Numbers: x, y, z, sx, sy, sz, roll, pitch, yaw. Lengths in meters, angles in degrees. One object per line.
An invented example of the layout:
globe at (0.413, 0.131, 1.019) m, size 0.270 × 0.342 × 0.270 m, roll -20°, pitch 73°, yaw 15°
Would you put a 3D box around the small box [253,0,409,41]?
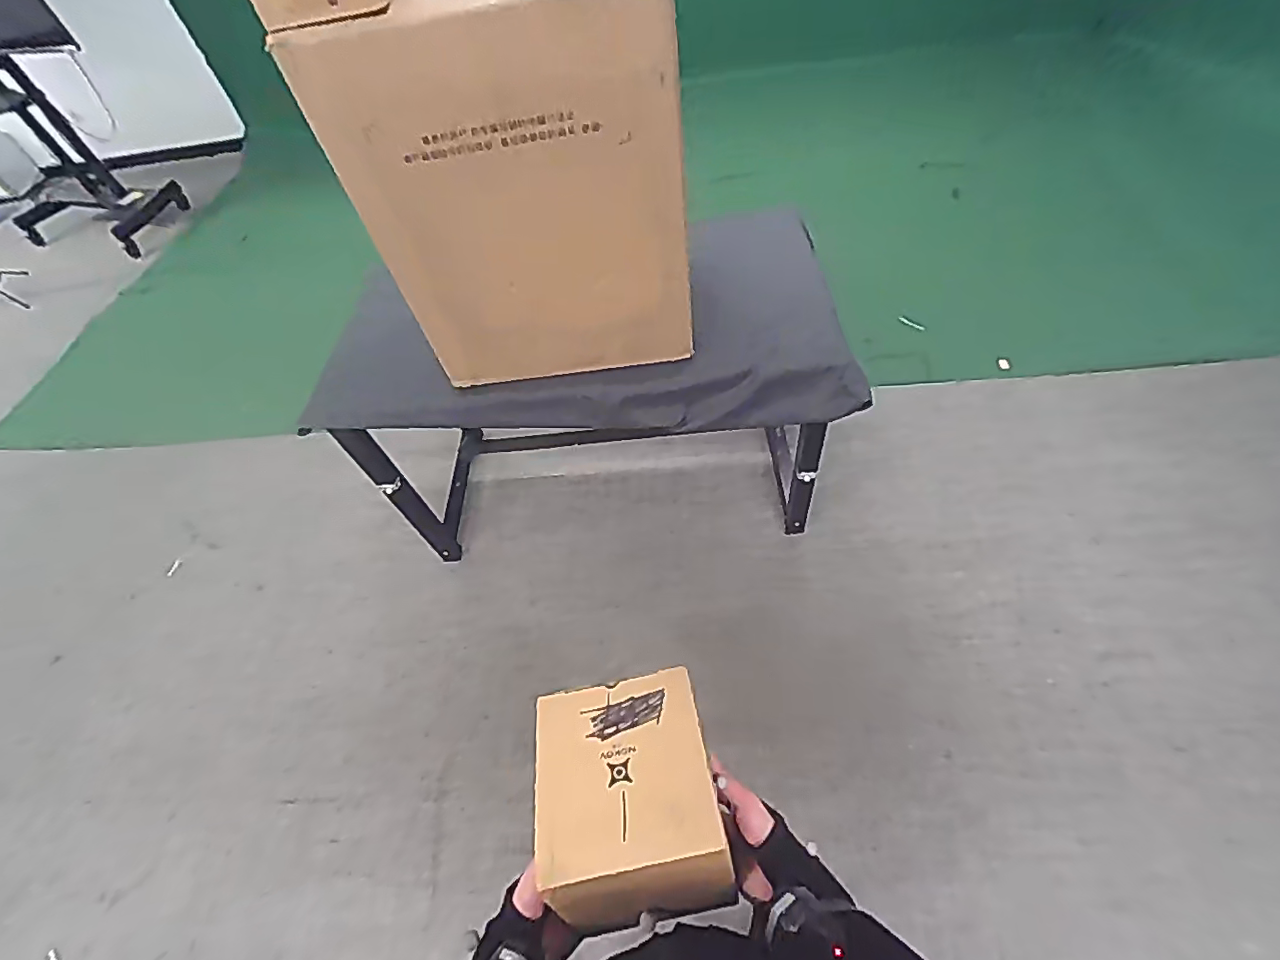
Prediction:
small box at (-0.421, -0.700, 0.701) m, size 0.168 × 0.176 × 0.179 m, roll -6°, pitch 53°, yaw 5°
